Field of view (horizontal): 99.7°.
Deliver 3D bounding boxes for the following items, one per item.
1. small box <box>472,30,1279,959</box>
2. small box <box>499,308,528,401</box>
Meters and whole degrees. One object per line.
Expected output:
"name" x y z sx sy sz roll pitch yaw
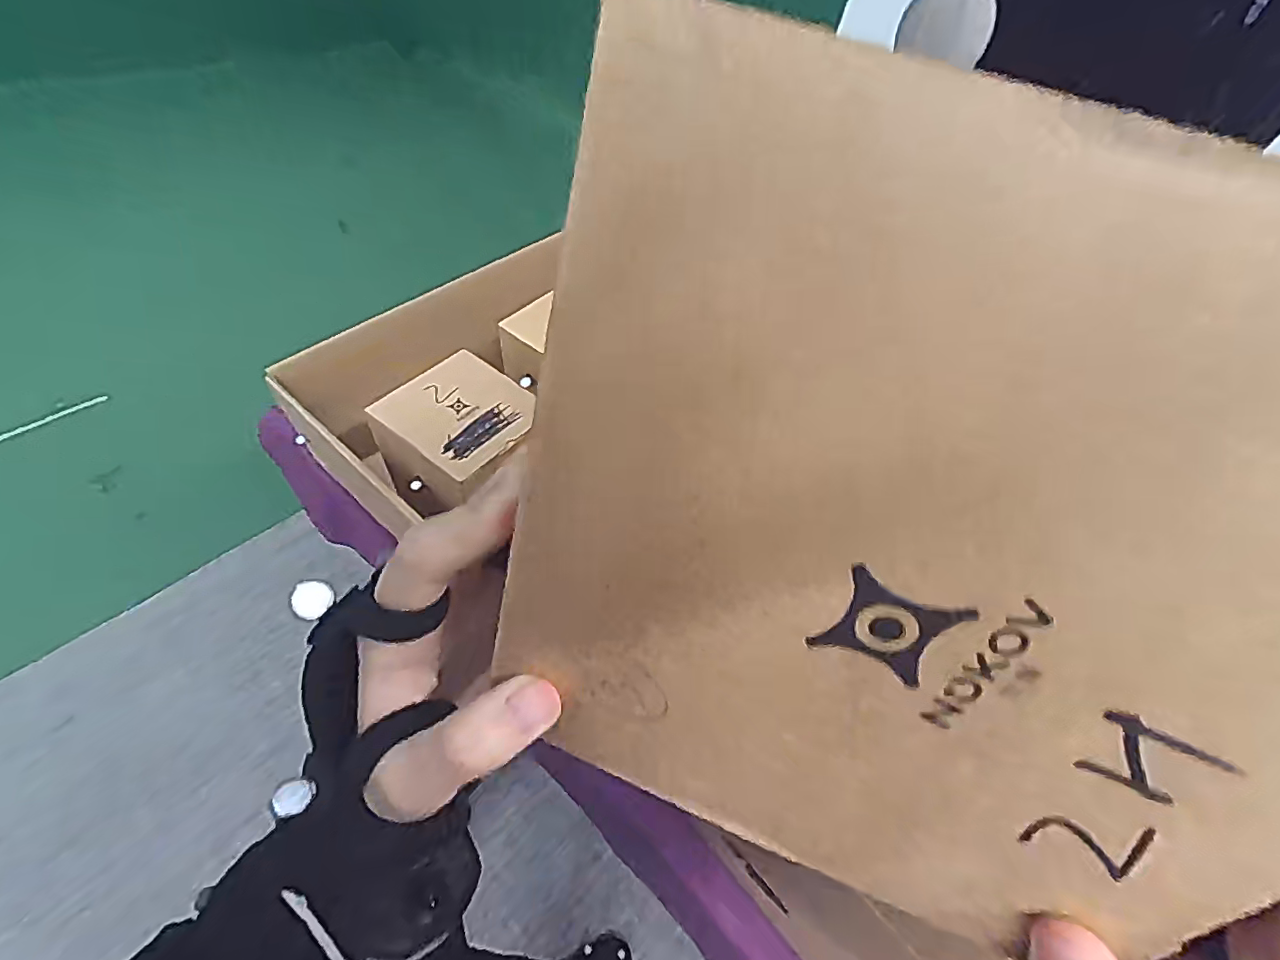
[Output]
"small box" 0.072 -0.006 0.178 0.179 0.168 0.176 22 33 6
"small box" -0.104 -0.188 0.892 0.168 0.176 0.179 35 57 17
